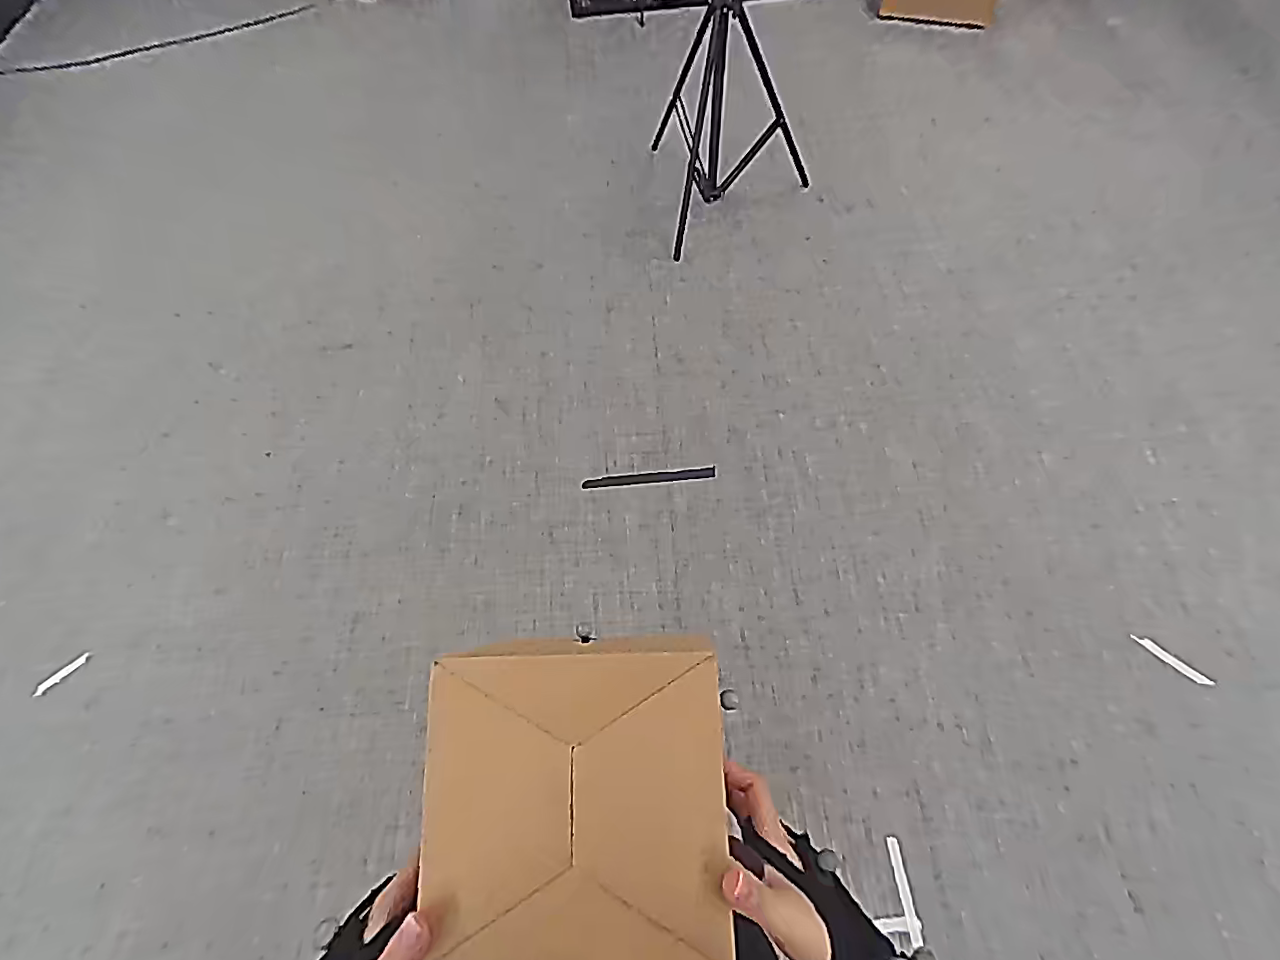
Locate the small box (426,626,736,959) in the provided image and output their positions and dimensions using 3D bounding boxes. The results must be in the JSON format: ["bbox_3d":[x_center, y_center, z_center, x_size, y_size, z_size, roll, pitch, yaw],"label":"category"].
[{"bbox_3d":[-0.030,0.197,0.386,0.179,0.176,0.168,-3,77,2],"label":"small box"}]
